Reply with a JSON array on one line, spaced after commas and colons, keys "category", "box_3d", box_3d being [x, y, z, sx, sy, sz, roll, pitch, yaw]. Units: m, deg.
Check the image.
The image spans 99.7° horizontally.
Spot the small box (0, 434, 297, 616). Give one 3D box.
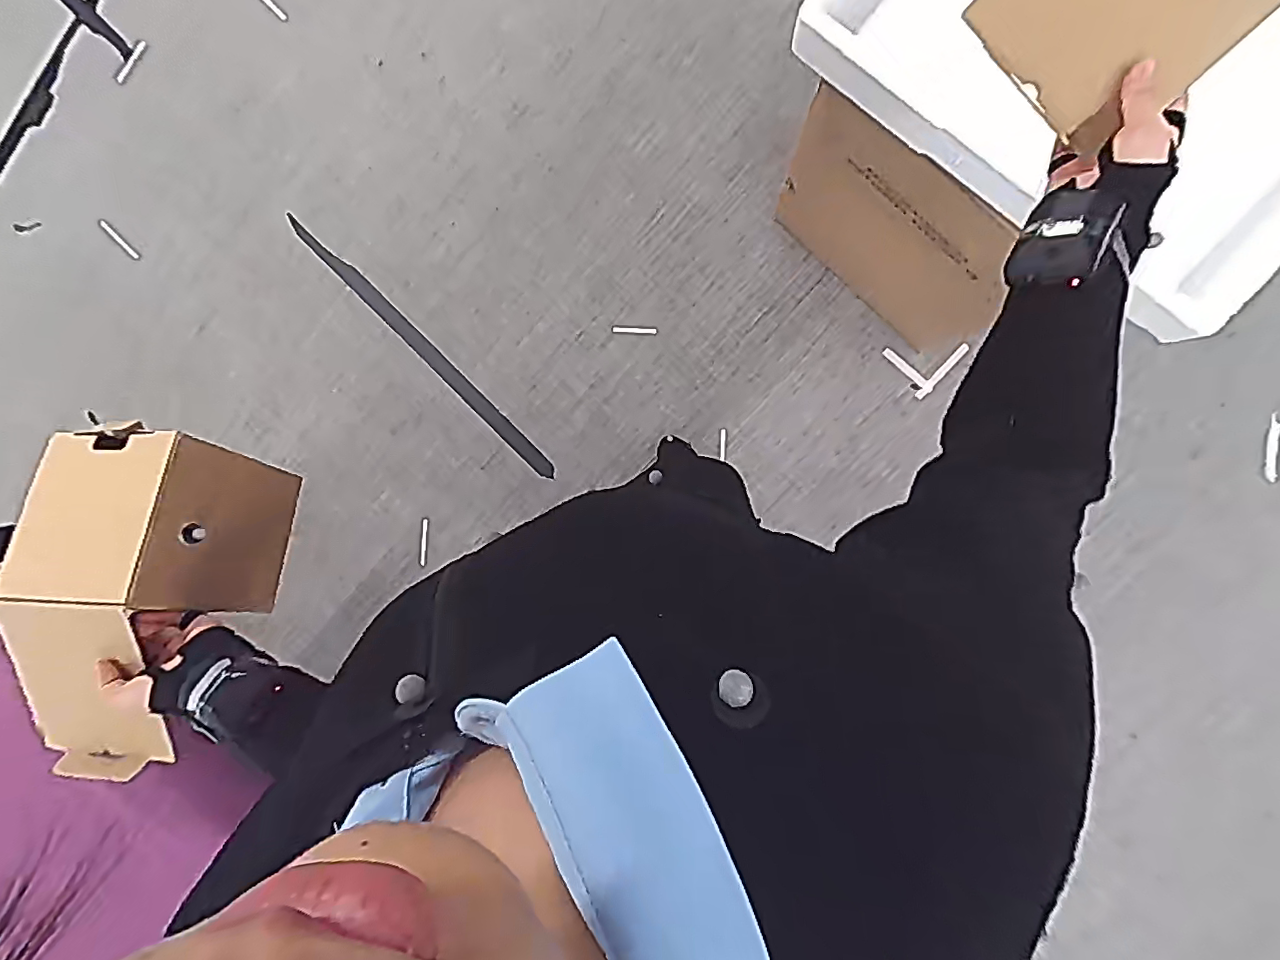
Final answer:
[{"category": "small box", "box_3d": [-0.530, 0.059, 0.610, 0.168, 0.176, 0.179, 0, 73, 10]}]
